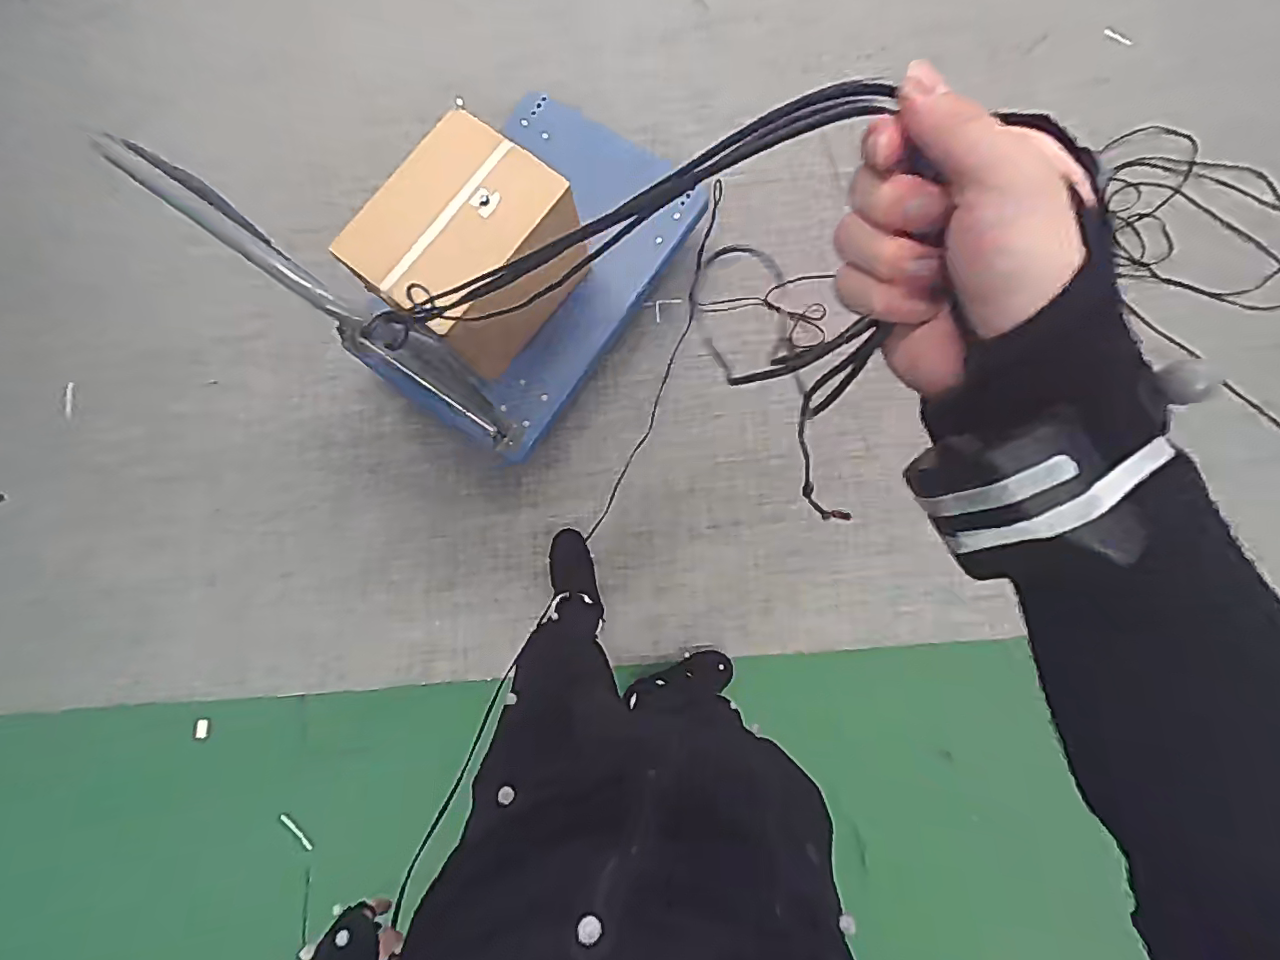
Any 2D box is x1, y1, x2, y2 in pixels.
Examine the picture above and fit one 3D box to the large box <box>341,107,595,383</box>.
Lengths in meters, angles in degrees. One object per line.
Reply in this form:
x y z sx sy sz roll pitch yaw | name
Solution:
-0.353 -0.498 1.217 0.320 0.320 0.408 37 84 7 | large box
